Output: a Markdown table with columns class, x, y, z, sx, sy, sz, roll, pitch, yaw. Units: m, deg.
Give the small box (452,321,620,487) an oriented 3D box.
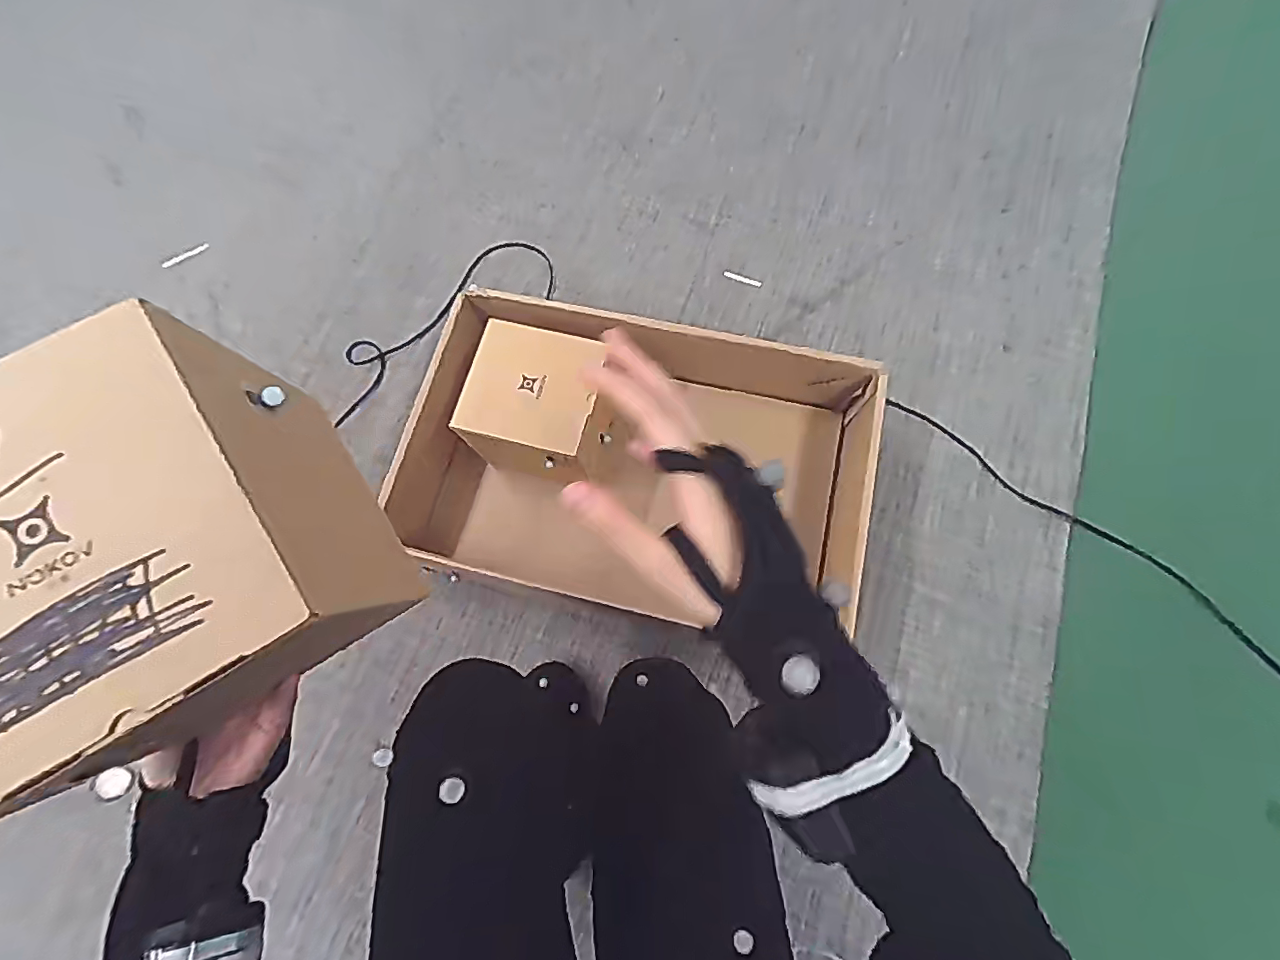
| class | x | y | z | sx | sy | sz | roll | pitch | yaw |
| --- | --- | --- | --- | --- | --- | --- | --- | --- | --- |
| small box | -0.136 | -0.100 | 0.785 | 0.179 | 0.176 | 0.168 | 14 | 75 | 6 |
